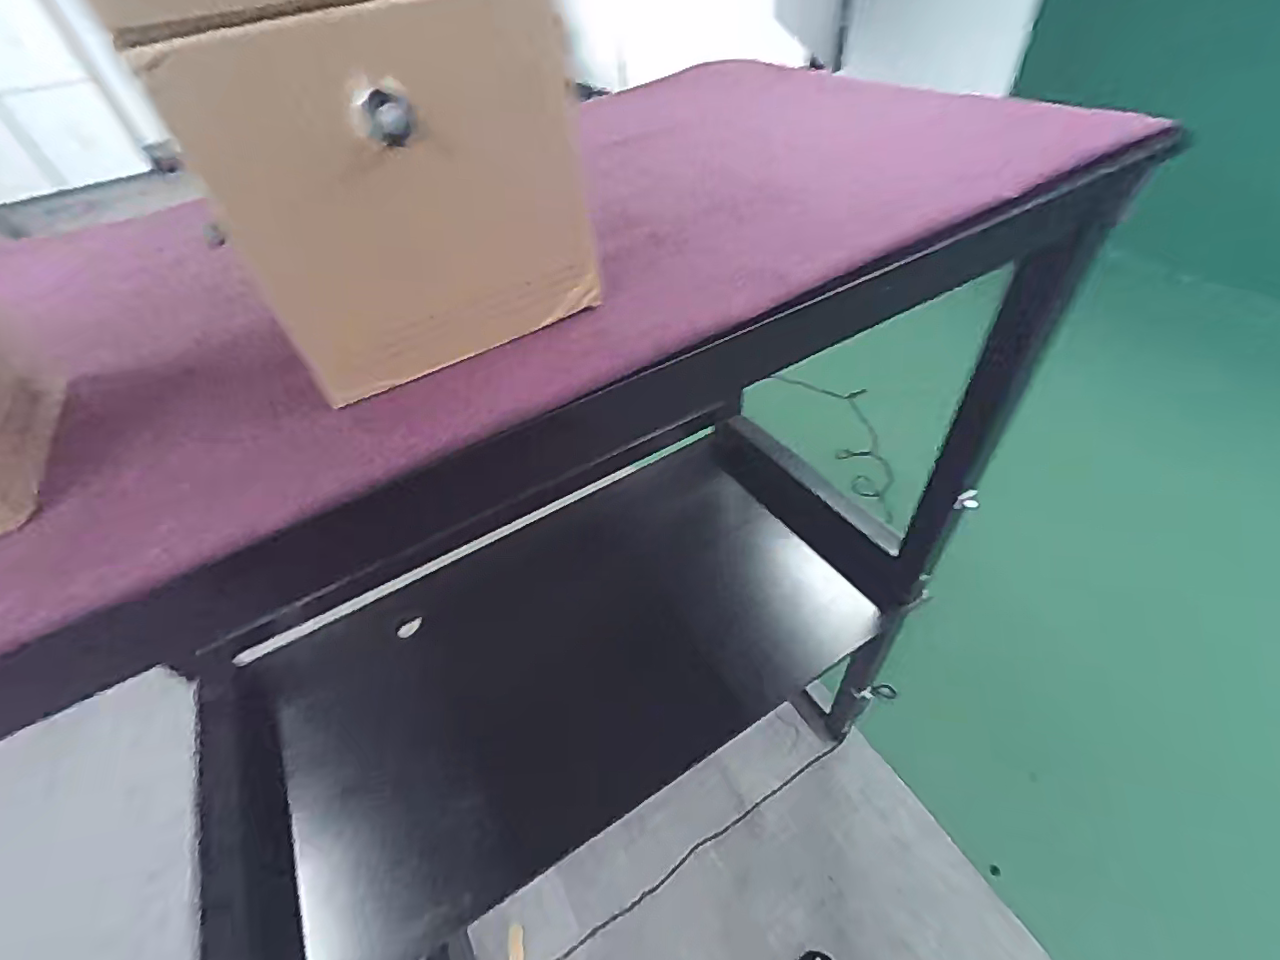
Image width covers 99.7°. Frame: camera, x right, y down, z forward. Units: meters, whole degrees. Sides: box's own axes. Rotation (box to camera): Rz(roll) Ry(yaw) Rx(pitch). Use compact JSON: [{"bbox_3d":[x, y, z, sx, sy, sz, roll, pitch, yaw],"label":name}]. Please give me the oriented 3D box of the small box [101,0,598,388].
[{"bbox_3d":[-0.145,-0.181,0.320,0.179,0.176,0.168,-27,48,-17],"label":"small box"}]
